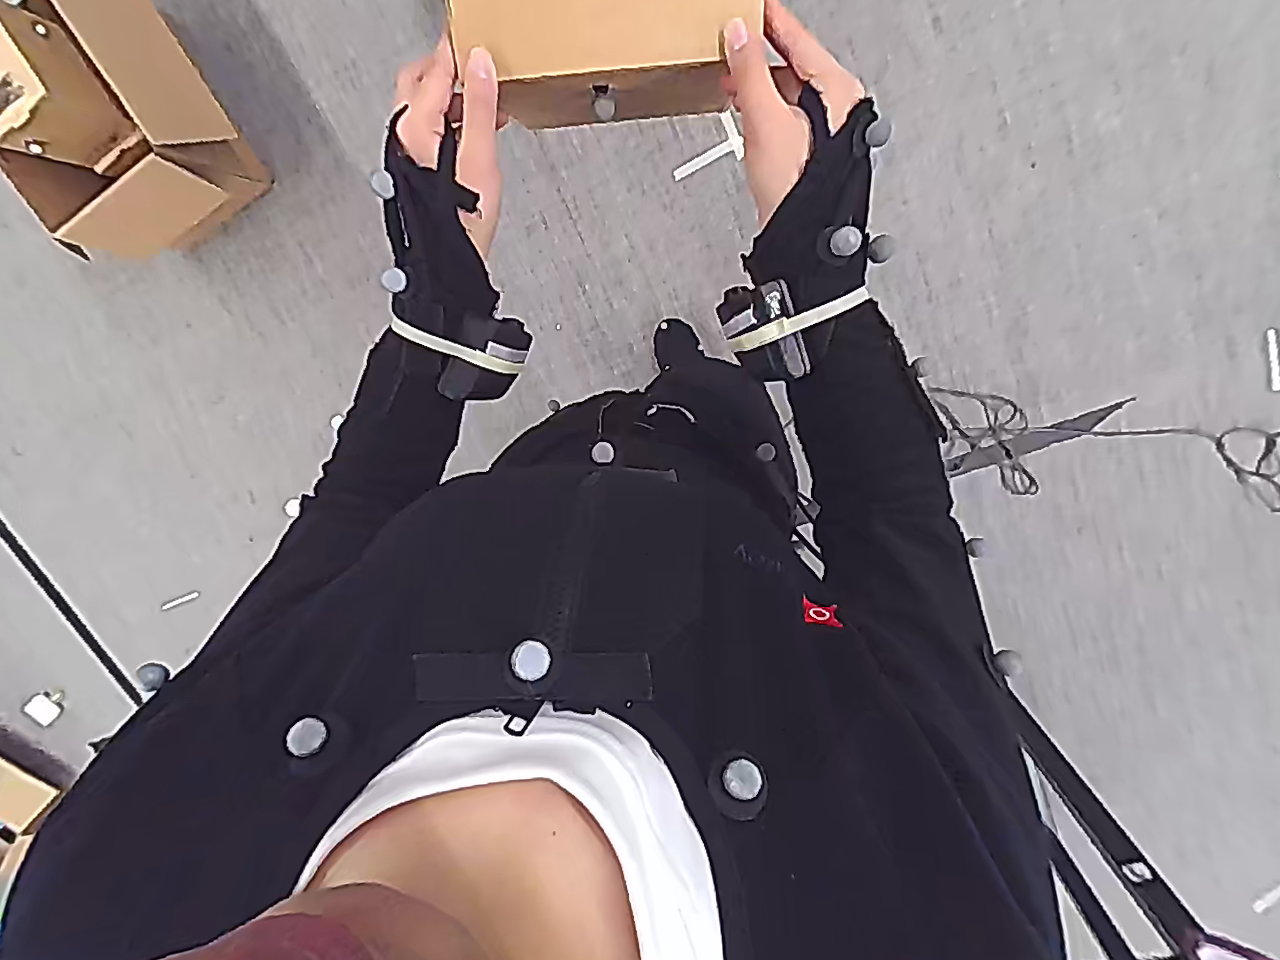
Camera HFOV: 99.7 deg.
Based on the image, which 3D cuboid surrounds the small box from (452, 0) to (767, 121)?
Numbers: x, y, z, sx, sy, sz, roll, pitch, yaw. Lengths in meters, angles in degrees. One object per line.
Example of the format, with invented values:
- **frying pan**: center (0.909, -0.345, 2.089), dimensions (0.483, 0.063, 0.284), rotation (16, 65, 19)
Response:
- **small box**: center (-0.018, -0.345, 0.346), dimensions (0.179, 0.176, 0.168), rotation (-2, 115, 4)
